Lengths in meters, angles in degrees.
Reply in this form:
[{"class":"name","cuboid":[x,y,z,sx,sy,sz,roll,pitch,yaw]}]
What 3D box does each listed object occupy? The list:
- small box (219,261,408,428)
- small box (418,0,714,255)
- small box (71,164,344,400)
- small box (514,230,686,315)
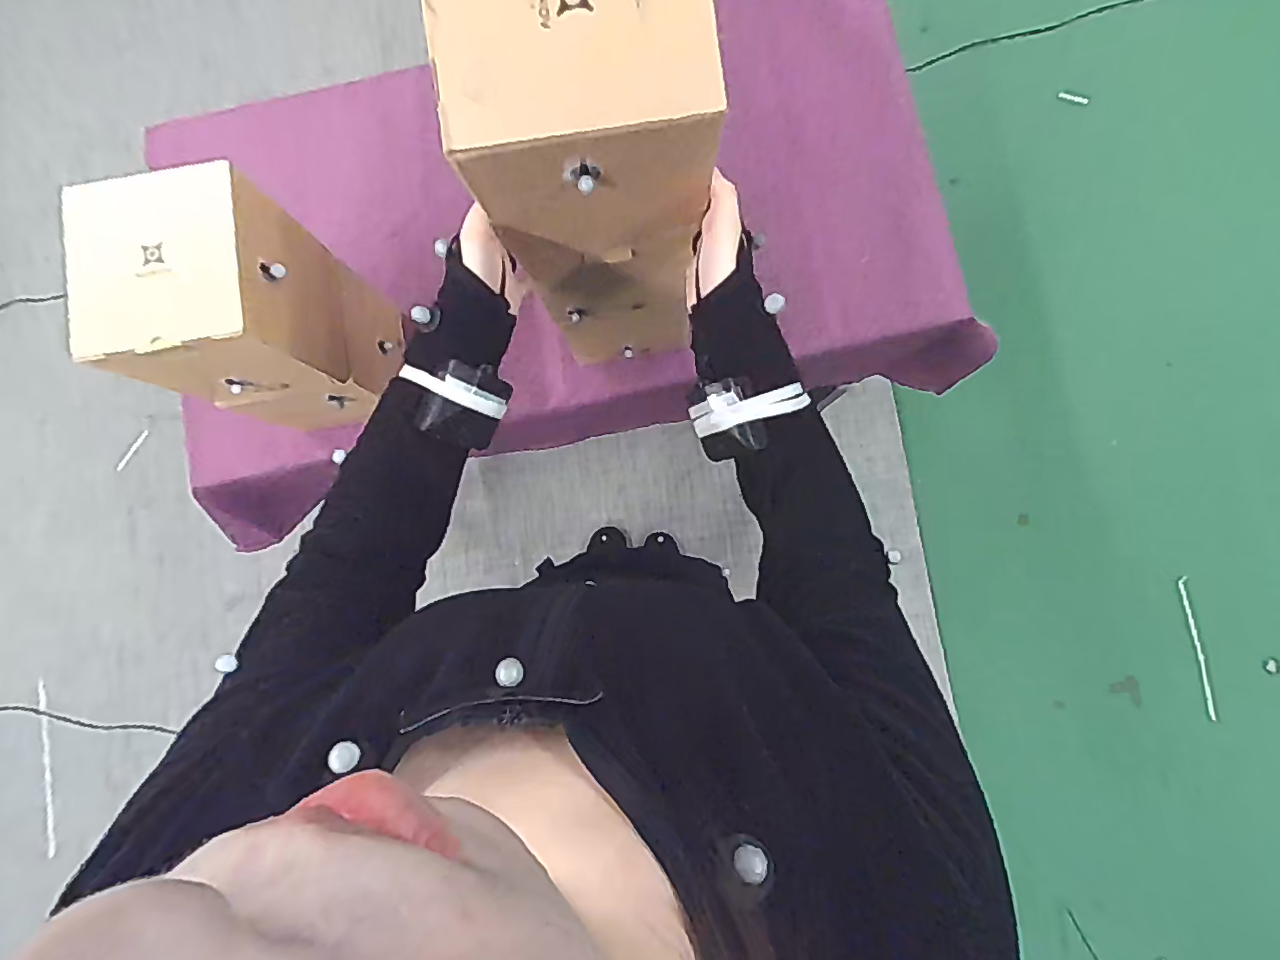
[{"class":"small box","cuboid":[-0.443,-0.177,0.754,0.179,0.176,0.168,-9,84,1]},{"class":"small box","cuboid":[-0.045,-0.287,0.406,0.179,0.176,0.168,-7,91,2]},{"class":"small box","cuboid":[-0.455,-0.202,0.593,0.168,0.176,0.179,-9,85,1]},{"class":"small box","cuboid":[-0.039,-0.291,0.580,0.168,0.176,0.179,-6,84,2]}]
